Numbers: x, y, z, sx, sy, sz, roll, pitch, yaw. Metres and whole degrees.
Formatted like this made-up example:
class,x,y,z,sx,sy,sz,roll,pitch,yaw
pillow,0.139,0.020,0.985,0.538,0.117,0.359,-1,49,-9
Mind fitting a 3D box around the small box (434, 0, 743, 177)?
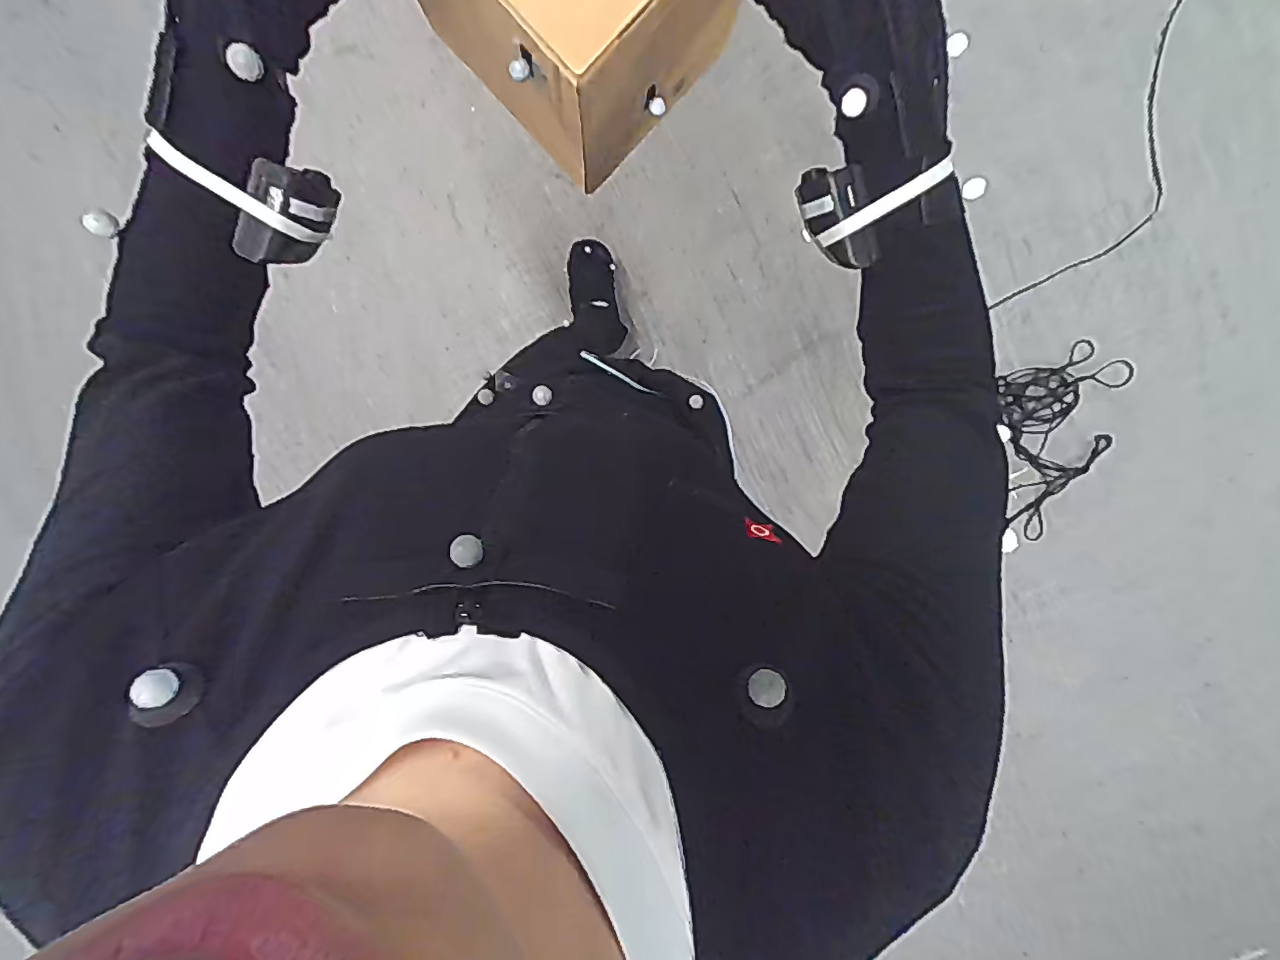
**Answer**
class,x,y,z,sx,sy,sz,roll,pitch,yaw
small box,-0.039,-0.349,0.359,0.168,0.176,0.179,-45,100,4
